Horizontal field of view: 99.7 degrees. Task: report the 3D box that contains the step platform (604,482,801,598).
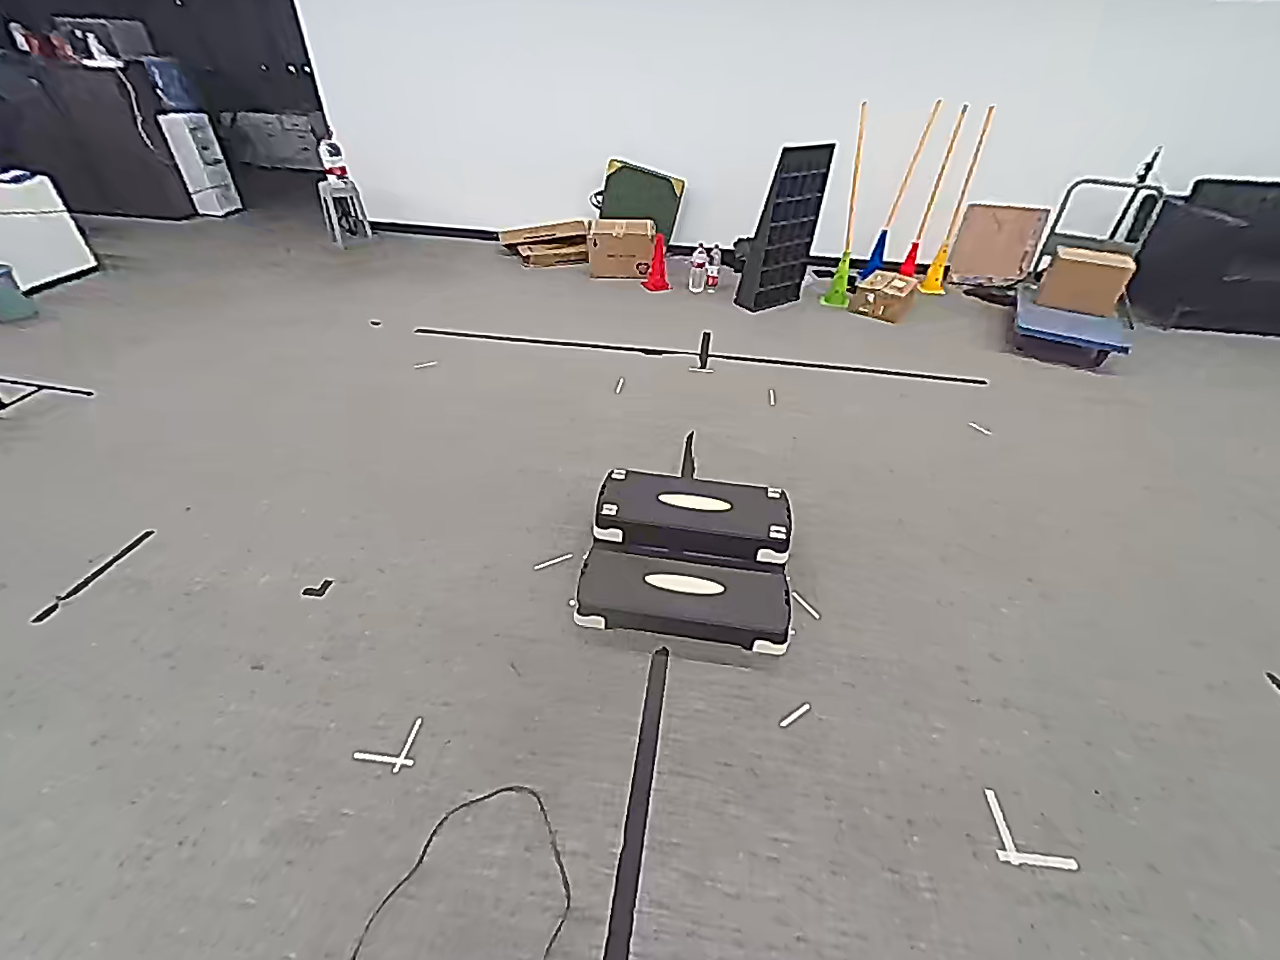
[{"bbox_3d":[0.219,0.201,1.922,0.684,0.204,0.286,10,38,9],"label":"step platform"}]
